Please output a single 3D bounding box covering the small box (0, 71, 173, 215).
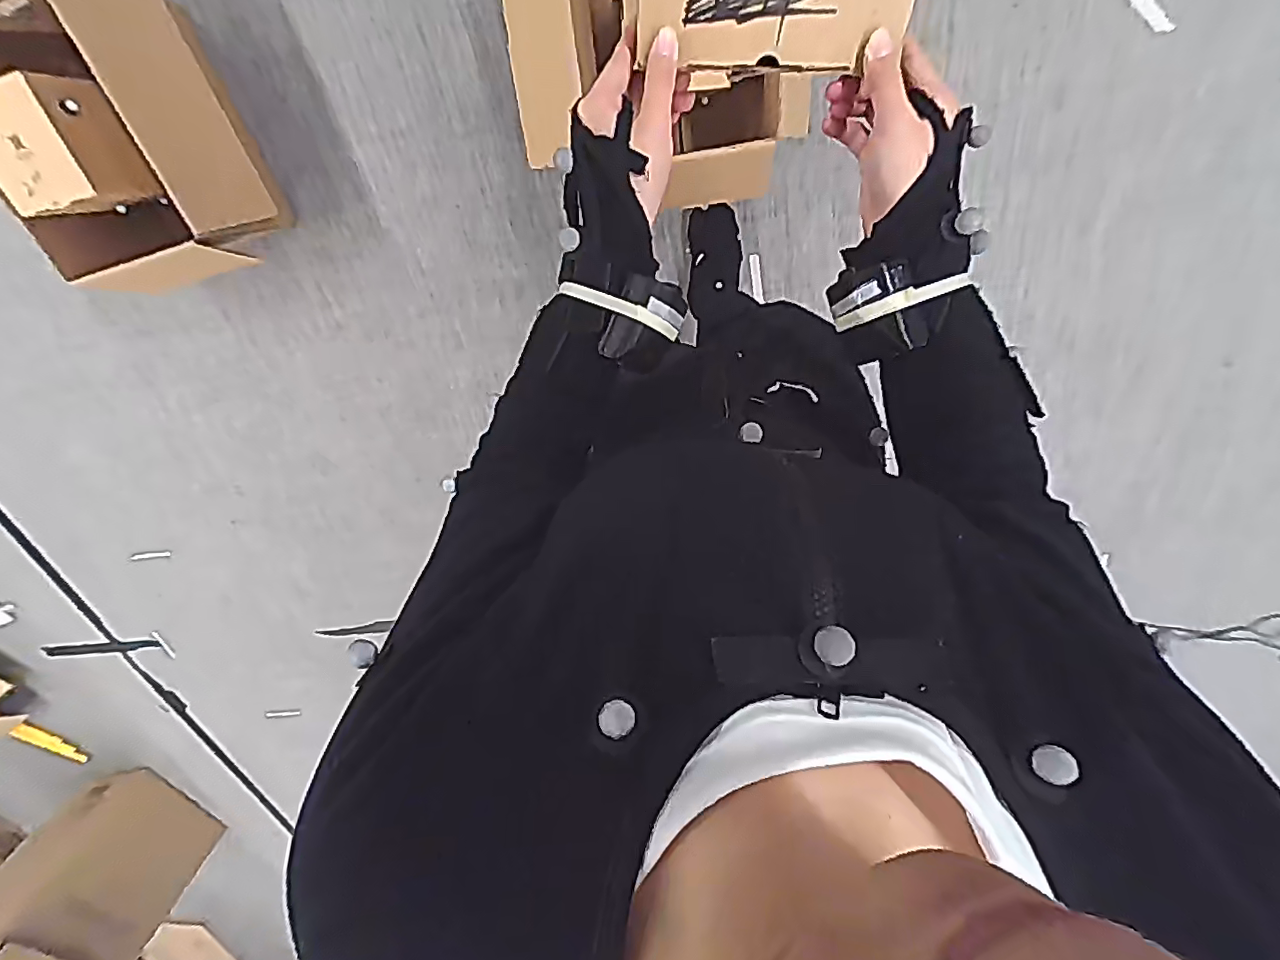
[{"bbox_3d":[-0.999,-0.582,0.950,0.168,0.176,0.179,-8,120,10],"label":"small box"}]

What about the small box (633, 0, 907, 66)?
[{"bbox_3d":[0.082,-0.381,0.352,0.168,0.176,0.179,1,126,1],"label":"small box"}]
